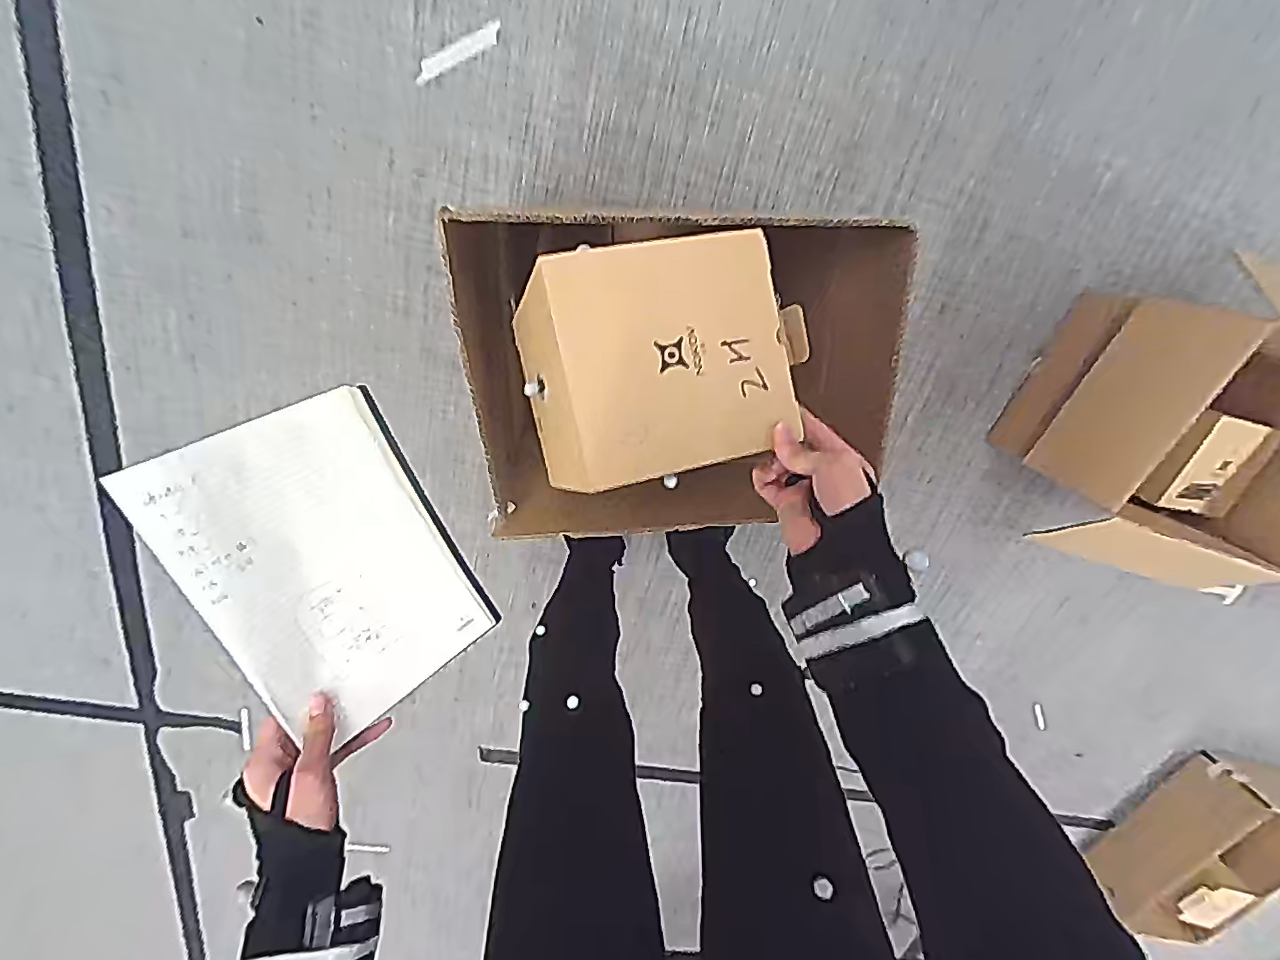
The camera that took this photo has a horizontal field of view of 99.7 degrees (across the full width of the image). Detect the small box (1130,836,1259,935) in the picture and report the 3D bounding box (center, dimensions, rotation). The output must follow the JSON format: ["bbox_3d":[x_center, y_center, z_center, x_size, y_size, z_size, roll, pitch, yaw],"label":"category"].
[{"bbox_3d":[1.639,1.202,1.611,0.179,0.176,0.168,25,111,-15],"label":"small box"}]

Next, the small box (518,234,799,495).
[{"bbox_3d":[0.001,-0.086,0.456,0.179,0.176,0.168,-14,96,-19],"label":"small box"}]
